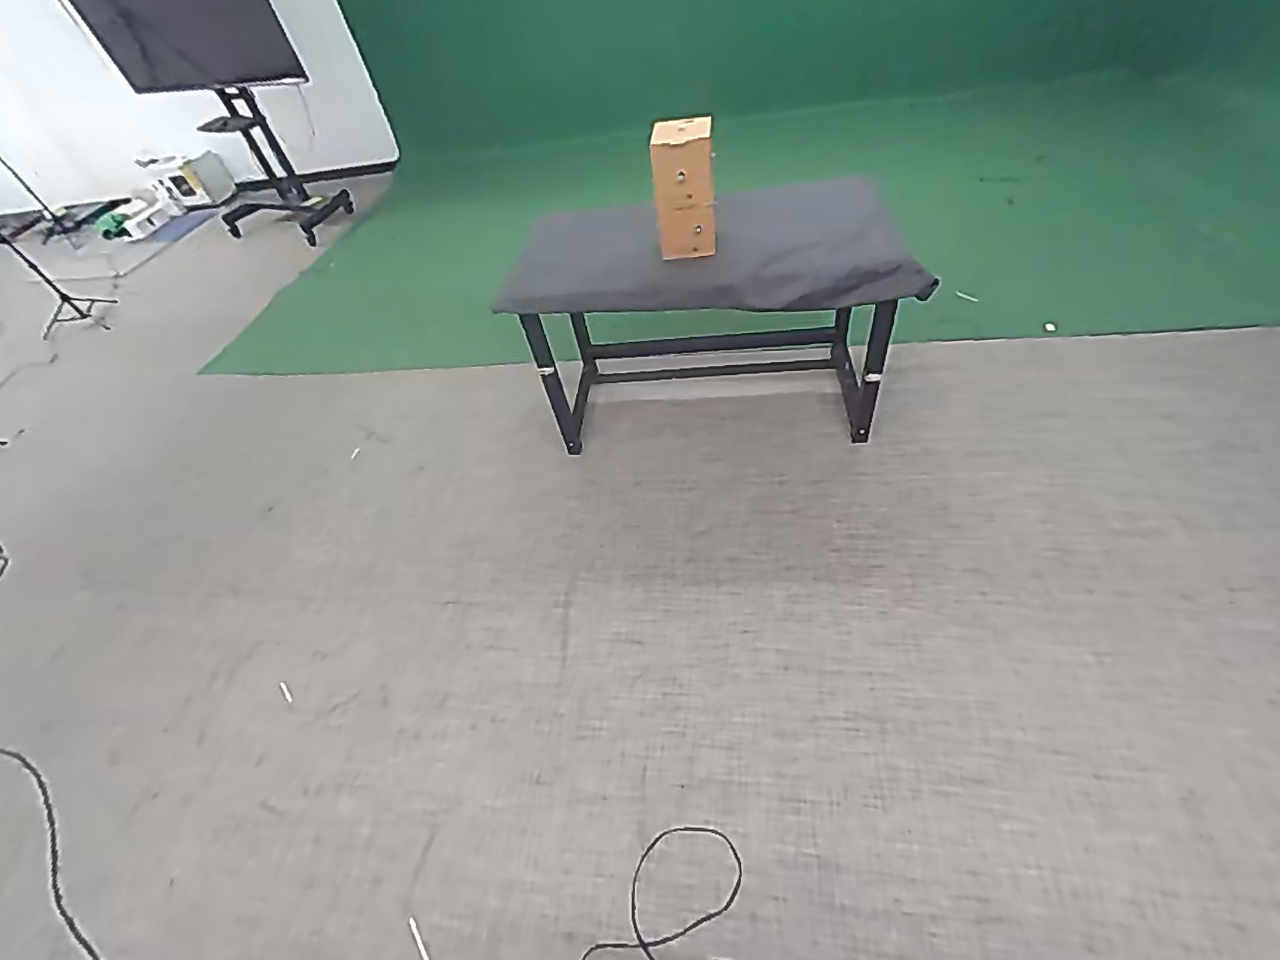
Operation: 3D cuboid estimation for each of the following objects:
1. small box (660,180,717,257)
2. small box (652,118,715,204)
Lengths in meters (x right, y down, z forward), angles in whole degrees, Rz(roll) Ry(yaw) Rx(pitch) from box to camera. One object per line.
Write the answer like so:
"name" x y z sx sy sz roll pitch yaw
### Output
"small box" 0.158 -0.816 1.699 0.168 0.176 0.179 -1 48 8
"small box" 0.133 -0.926 1.581 0.168 0.176 0.179 0 51 9
